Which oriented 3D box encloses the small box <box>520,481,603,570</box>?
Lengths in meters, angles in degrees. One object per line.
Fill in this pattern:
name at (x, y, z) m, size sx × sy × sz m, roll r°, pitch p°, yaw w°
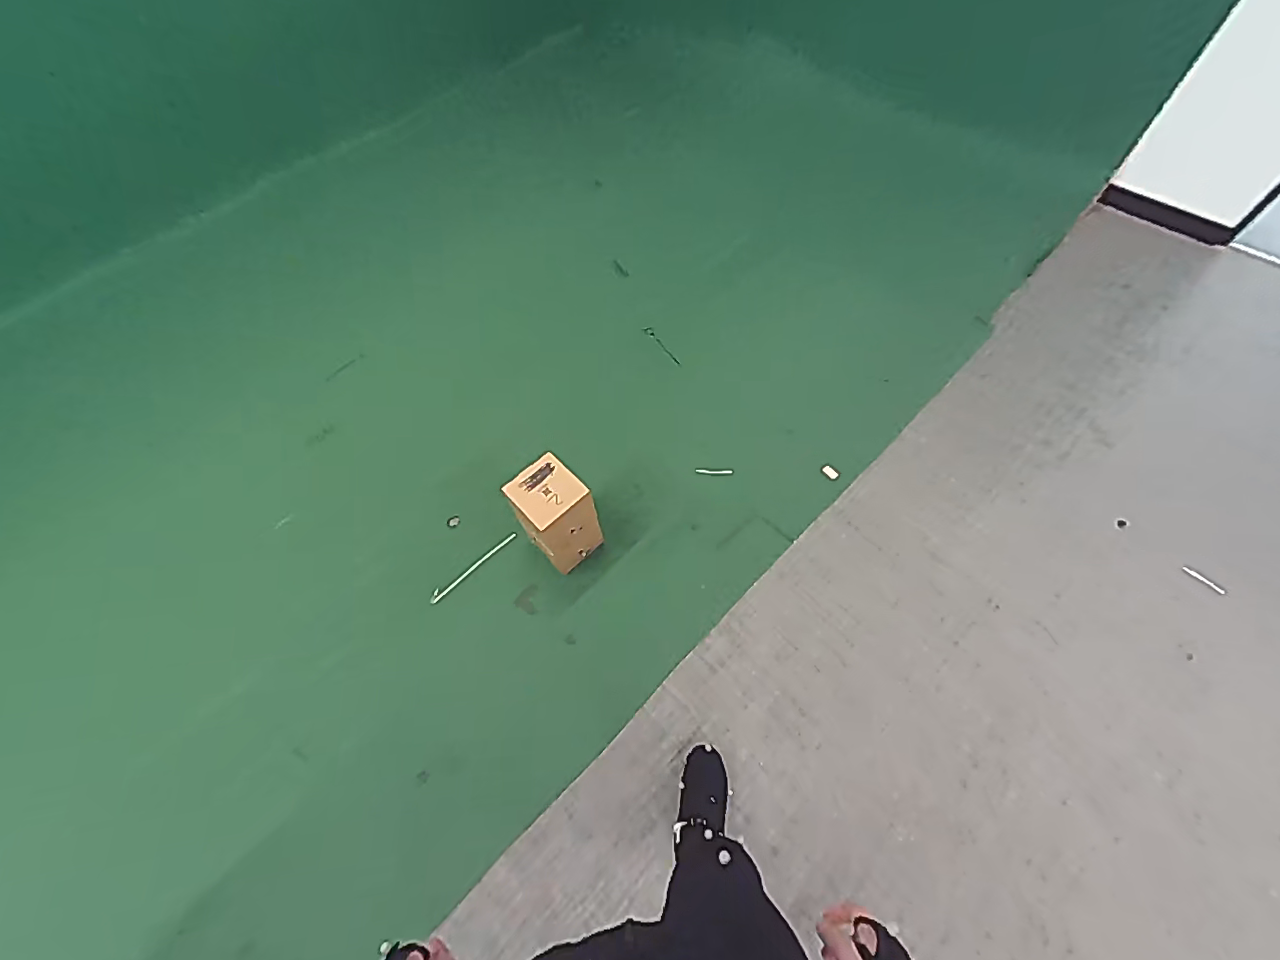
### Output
small box at (-0.231, 0.142, 1.626) m, size 0.168 × 0.176 × 0.179 m, roll -40°, pitch 66°, yaw -16°
